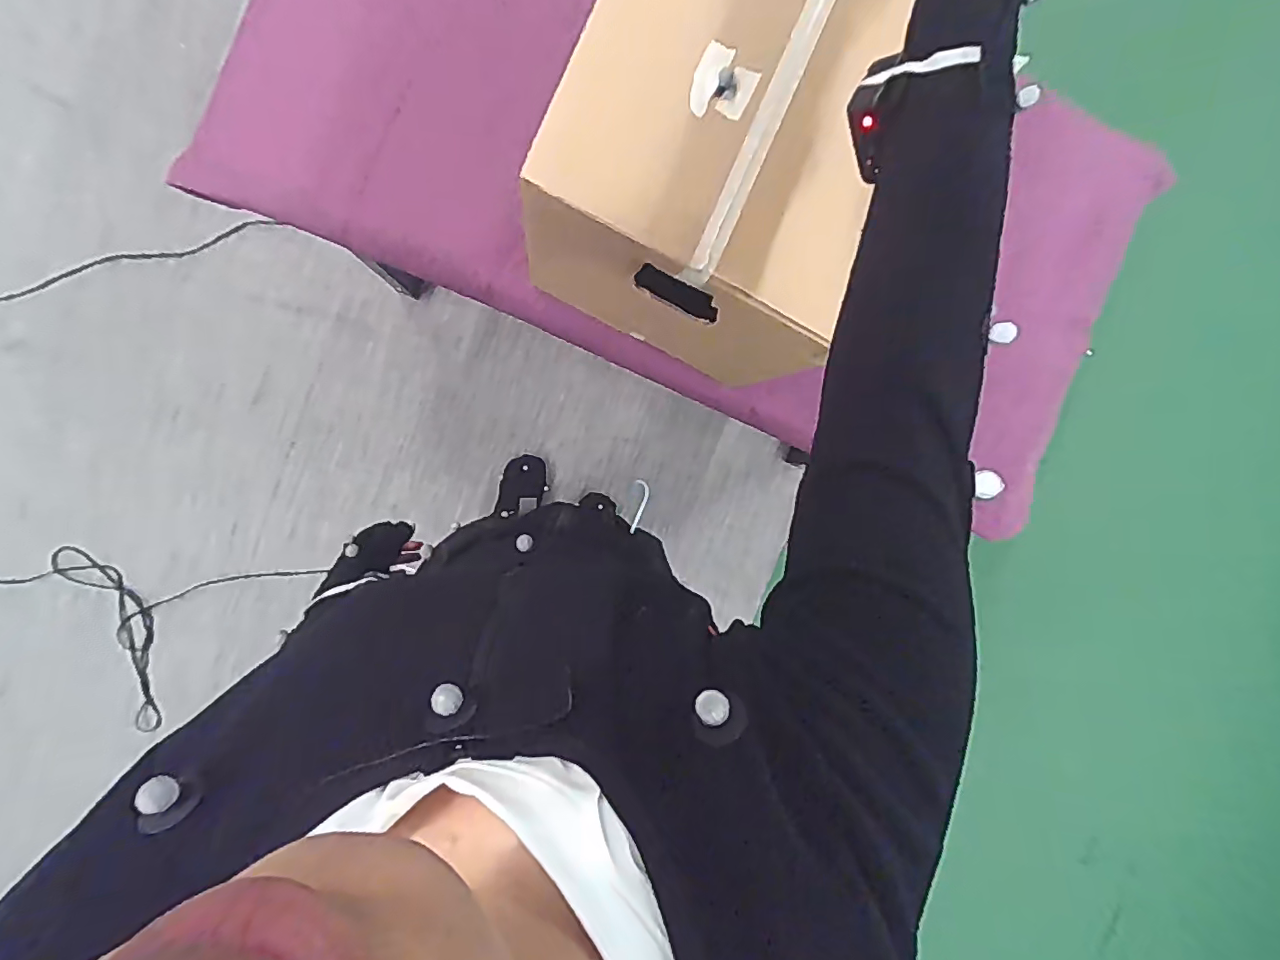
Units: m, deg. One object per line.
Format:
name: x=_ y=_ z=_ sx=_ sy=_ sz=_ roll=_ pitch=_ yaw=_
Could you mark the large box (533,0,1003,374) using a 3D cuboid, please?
large box: x=0.102 y=-0.373 z=0.600 sx=0.320 sy=0.320 sz=0.408 roll=25 pitch=92 yaw=-11
